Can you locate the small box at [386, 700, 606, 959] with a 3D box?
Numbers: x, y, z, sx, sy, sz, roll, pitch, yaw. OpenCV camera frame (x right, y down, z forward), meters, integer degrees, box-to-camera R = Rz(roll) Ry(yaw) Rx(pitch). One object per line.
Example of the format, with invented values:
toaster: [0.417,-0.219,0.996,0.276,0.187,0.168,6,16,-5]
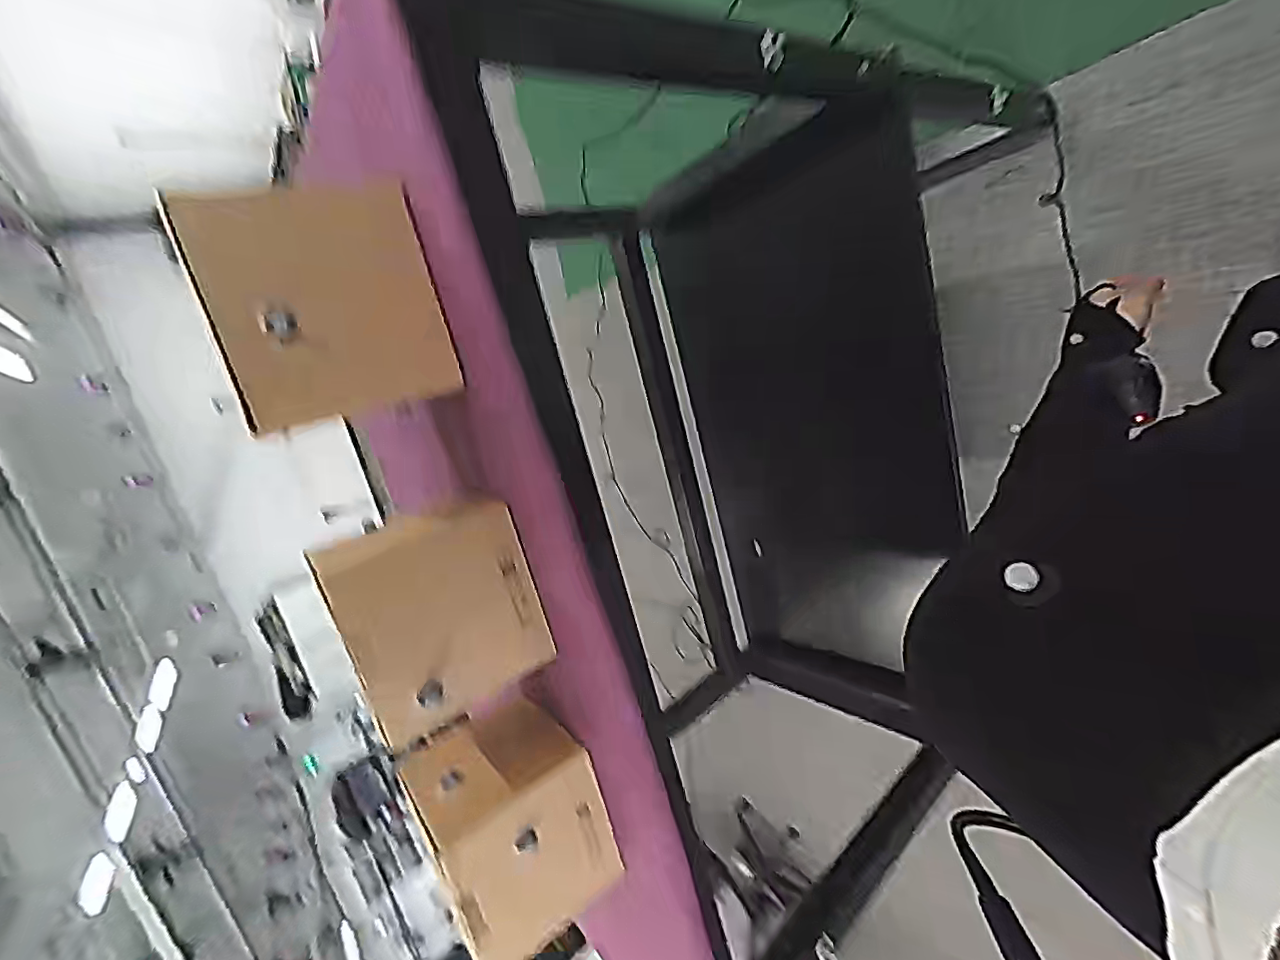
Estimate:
small box: [-0.153,0.378,0.601,0.179,0.176,0.168,4,111,54]

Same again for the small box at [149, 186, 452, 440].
small box: [-0.292,-0.145,0.492,0.168,0.176,0.179,2,110,54]
